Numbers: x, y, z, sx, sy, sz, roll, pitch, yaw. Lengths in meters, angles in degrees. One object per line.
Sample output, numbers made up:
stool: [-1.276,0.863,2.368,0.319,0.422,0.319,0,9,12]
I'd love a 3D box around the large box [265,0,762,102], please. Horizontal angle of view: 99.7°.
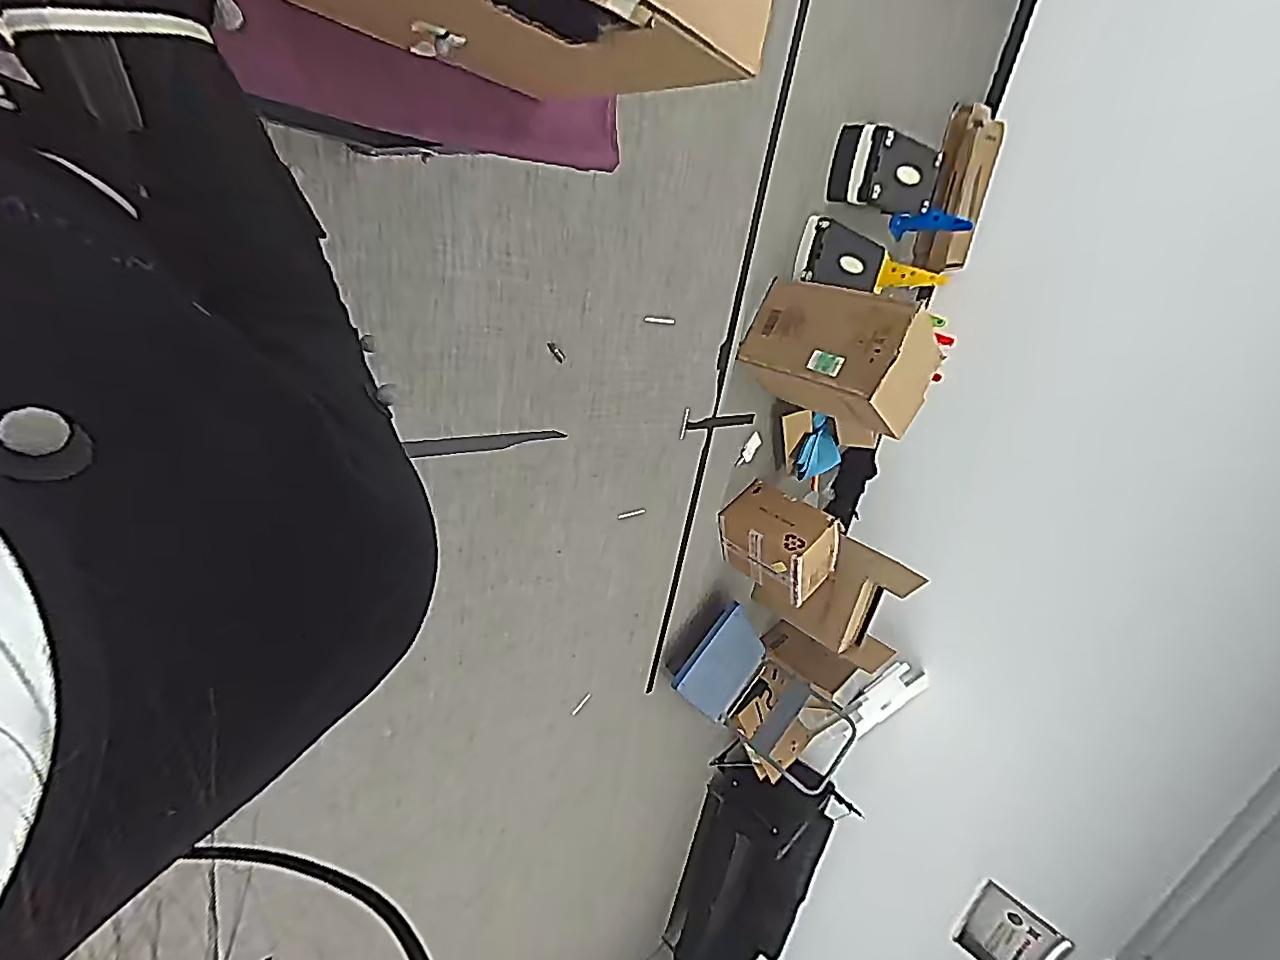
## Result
large box: [-0.090,-0.552,0.378,0.320,0.320,0.408,-12,120,-44]
